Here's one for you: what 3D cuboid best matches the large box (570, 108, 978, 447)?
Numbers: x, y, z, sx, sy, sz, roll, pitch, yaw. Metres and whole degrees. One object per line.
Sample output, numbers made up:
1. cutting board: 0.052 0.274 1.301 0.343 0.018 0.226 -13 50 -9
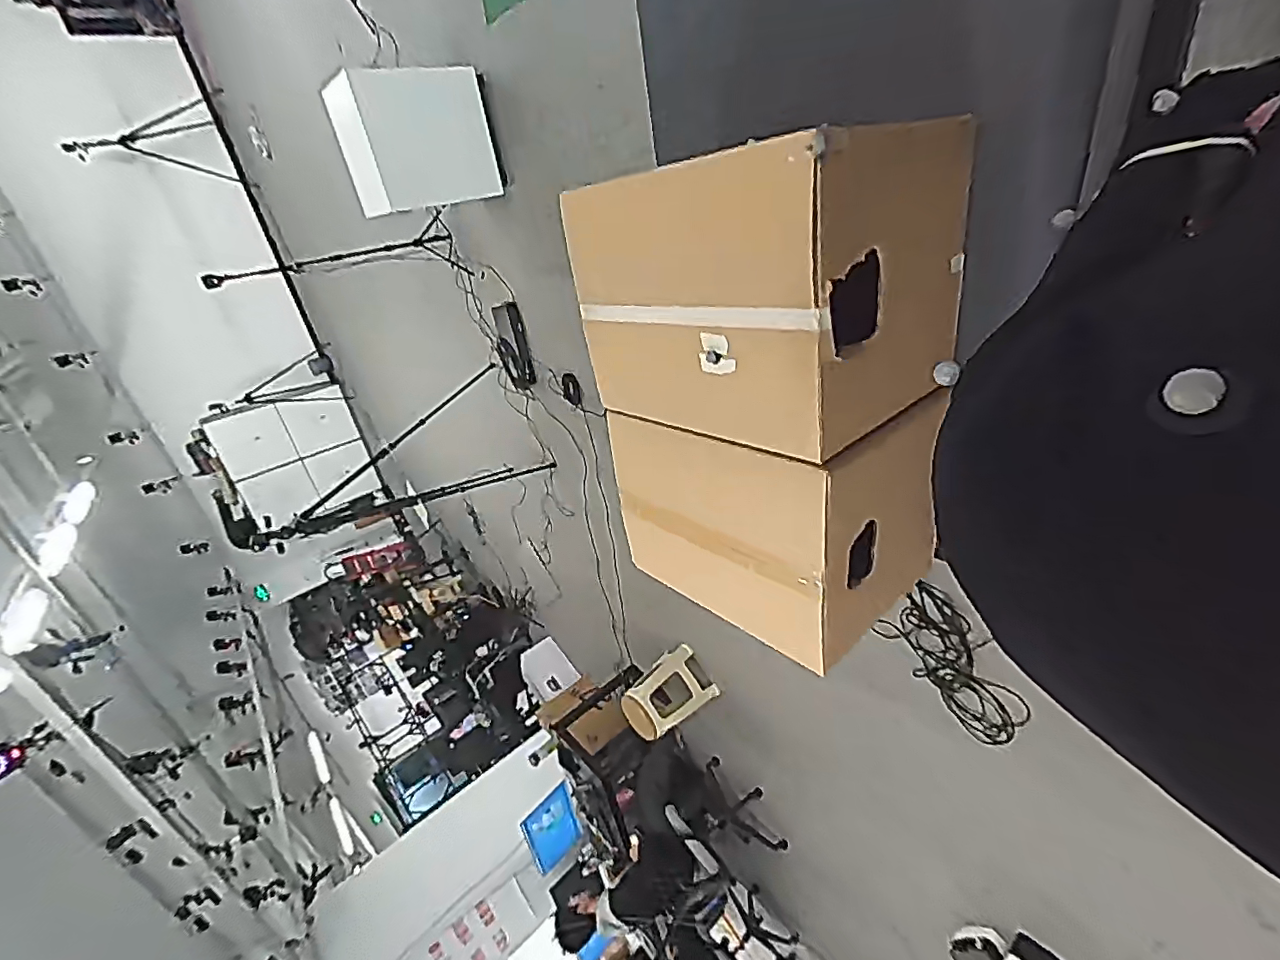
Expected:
1. large box: 0.165 -0.272 0.734 0.408 0.320 0.320 20 130 47
